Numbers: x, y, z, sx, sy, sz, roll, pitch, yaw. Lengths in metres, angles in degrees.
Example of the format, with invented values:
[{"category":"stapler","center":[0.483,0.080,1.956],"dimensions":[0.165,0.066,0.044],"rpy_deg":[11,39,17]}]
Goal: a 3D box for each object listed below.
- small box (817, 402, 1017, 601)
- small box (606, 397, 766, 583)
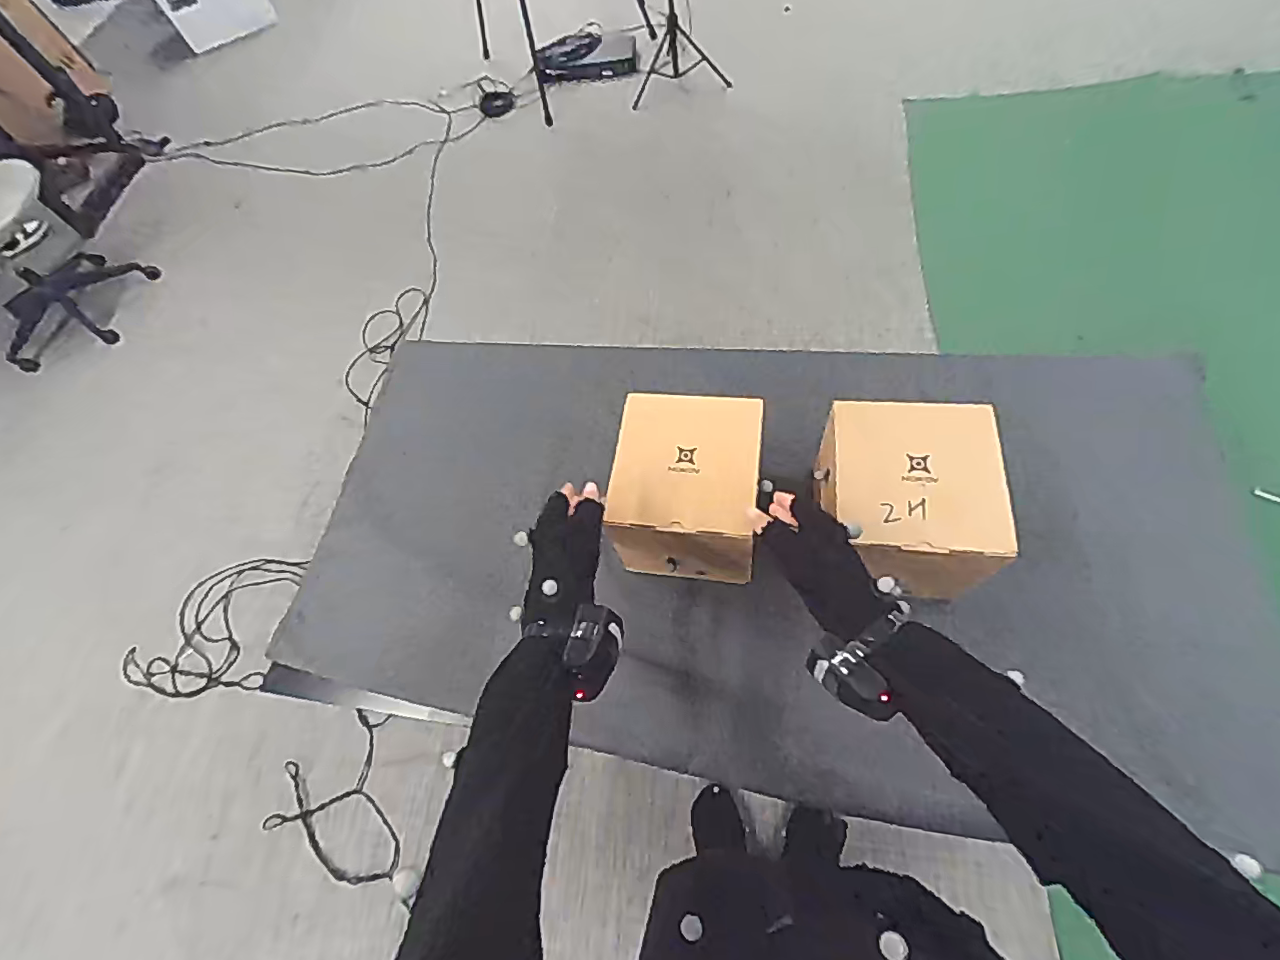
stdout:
[{"category":"small box","center":[0.303,0.029,0.635],"dimensions":[0.168,0.176,0.179],"rpy_deg":[3,64,12]},{"category":"small box","center":[0.067,0.016,0.685],"dimensions":[0.168,0.176,0.179],"rpy_deg":[4,64,13]}]
